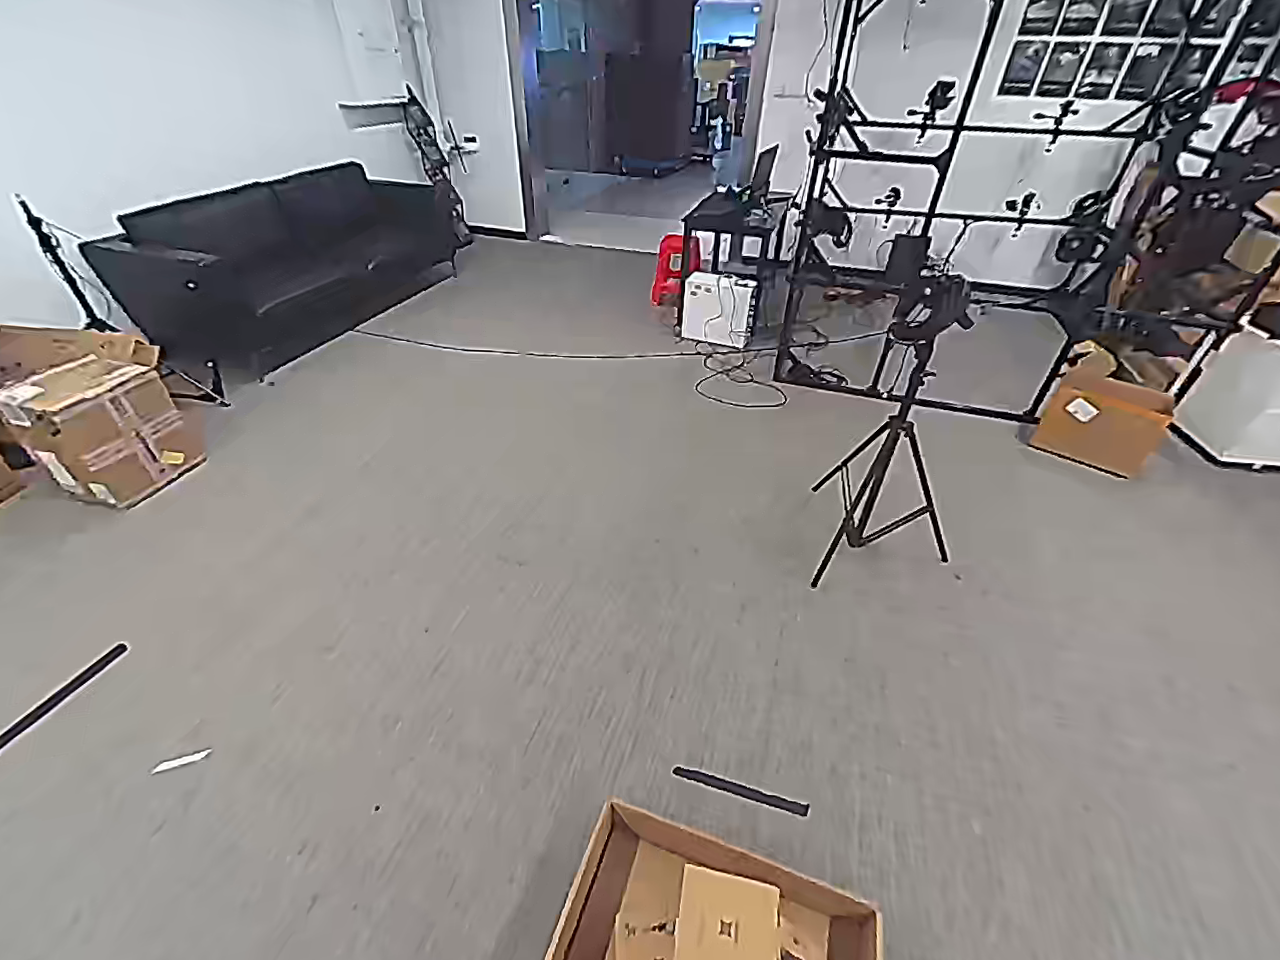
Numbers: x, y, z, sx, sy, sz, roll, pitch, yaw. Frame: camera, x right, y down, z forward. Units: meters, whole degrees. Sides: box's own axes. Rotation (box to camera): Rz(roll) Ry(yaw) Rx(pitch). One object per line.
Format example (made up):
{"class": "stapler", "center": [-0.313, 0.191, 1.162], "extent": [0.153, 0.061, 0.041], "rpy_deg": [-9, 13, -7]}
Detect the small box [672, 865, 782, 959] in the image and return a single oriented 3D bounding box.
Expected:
{"class": "small box", "center": [0.153, 0.835, 0.971], "extent": [0.179, 0.176, 0.168], "rpy_deg": [7, 36, 9]}
